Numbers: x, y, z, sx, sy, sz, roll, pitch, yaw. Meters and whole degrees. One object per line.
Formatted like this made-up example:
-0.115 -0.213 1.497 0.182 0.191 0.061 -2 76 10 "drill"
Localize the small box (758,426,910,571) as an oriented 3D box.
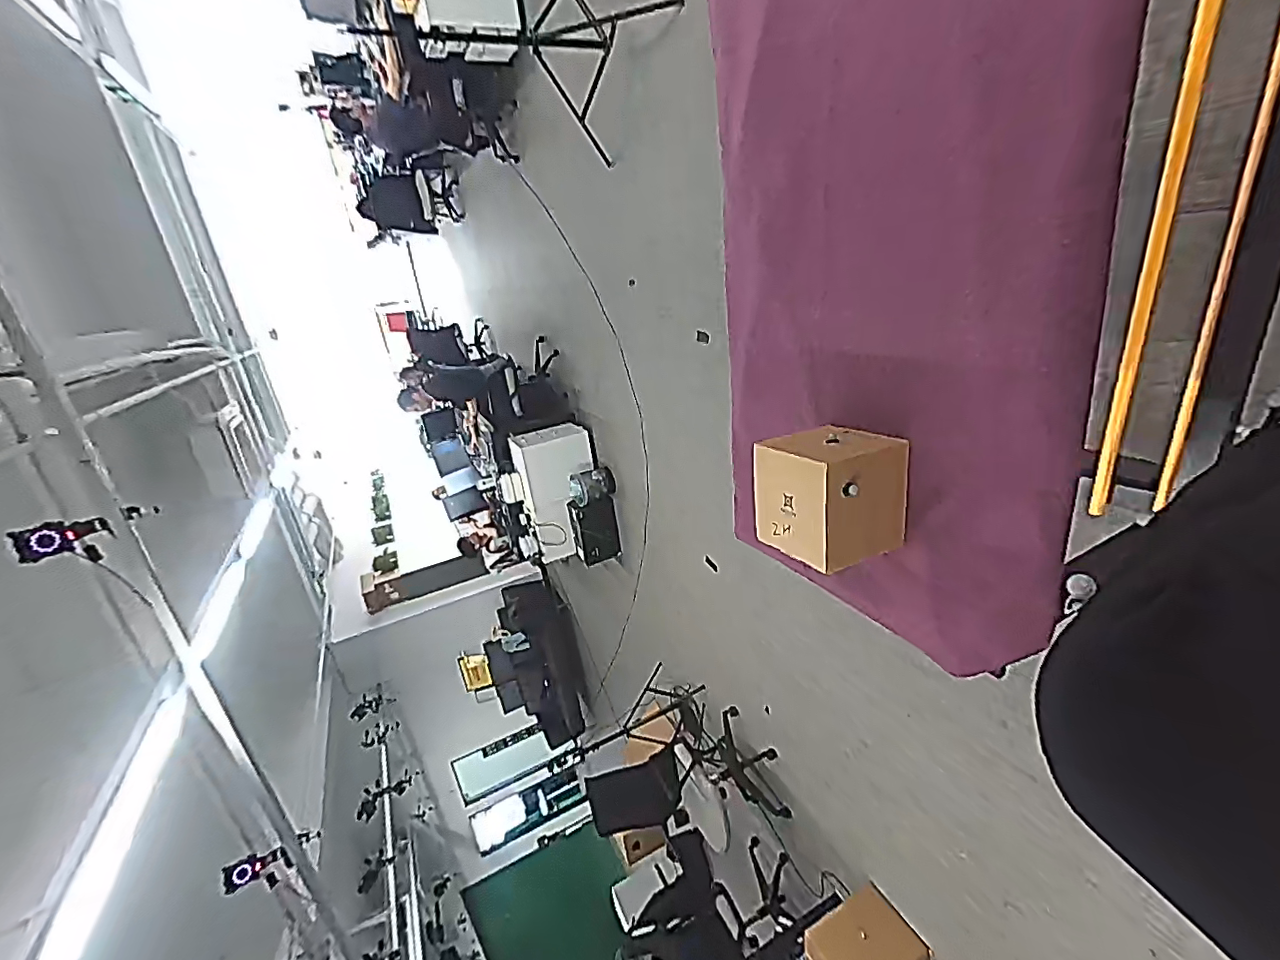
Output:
0.309 0.017 0.872 0.168 0.176 0.179 29 130 61 "small box"
